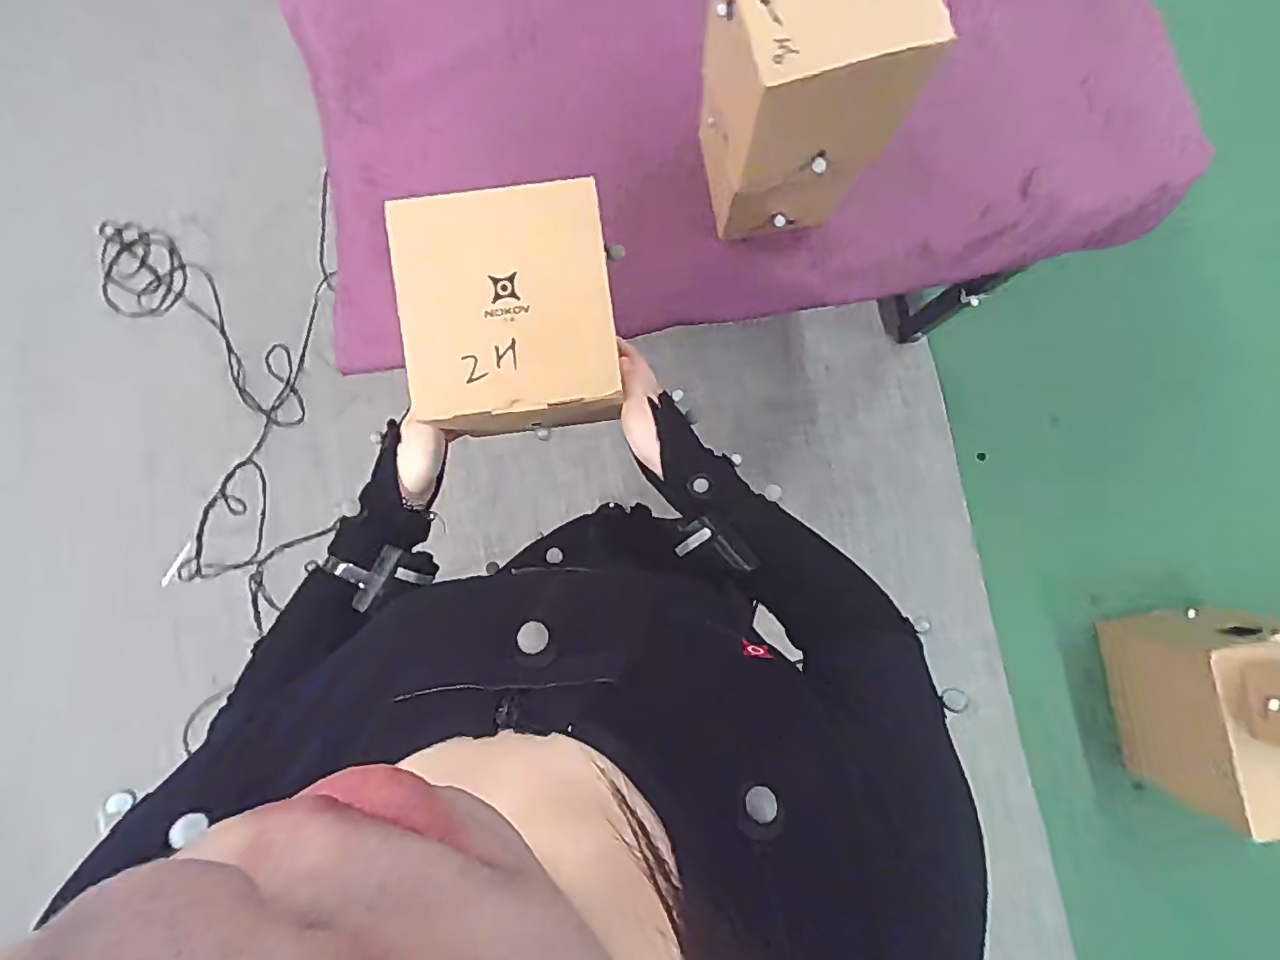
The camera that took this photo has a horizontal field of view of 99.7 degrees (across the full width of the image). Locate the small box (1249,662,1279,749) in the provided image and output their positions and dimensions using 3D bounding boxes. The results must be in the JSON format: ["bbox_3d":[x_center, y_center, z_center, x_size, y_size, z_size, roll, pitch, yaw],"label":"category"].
[{"bbox_3d":[1.364,0.453,1.044,0.179,0.176,0.168,-8,87,2],"label":"small box"}]

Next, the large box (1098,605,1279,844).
[{"bbox_3d":[1.397,0.544,1.282,0.320,0.320,0.408,-10,87,2],"label":"large box"}]

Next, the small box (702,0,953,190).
[{"bbox_3d":[0.171,-0.433,0.550,0.179,0.176,0.168,-13,87,1],"label":"small box"}]

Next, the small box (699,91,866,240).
[{"bbox_3d":[0.177,-0.452,0.714,0.168,0.176,0.179,-10,86,1],"label":"small box"}]
